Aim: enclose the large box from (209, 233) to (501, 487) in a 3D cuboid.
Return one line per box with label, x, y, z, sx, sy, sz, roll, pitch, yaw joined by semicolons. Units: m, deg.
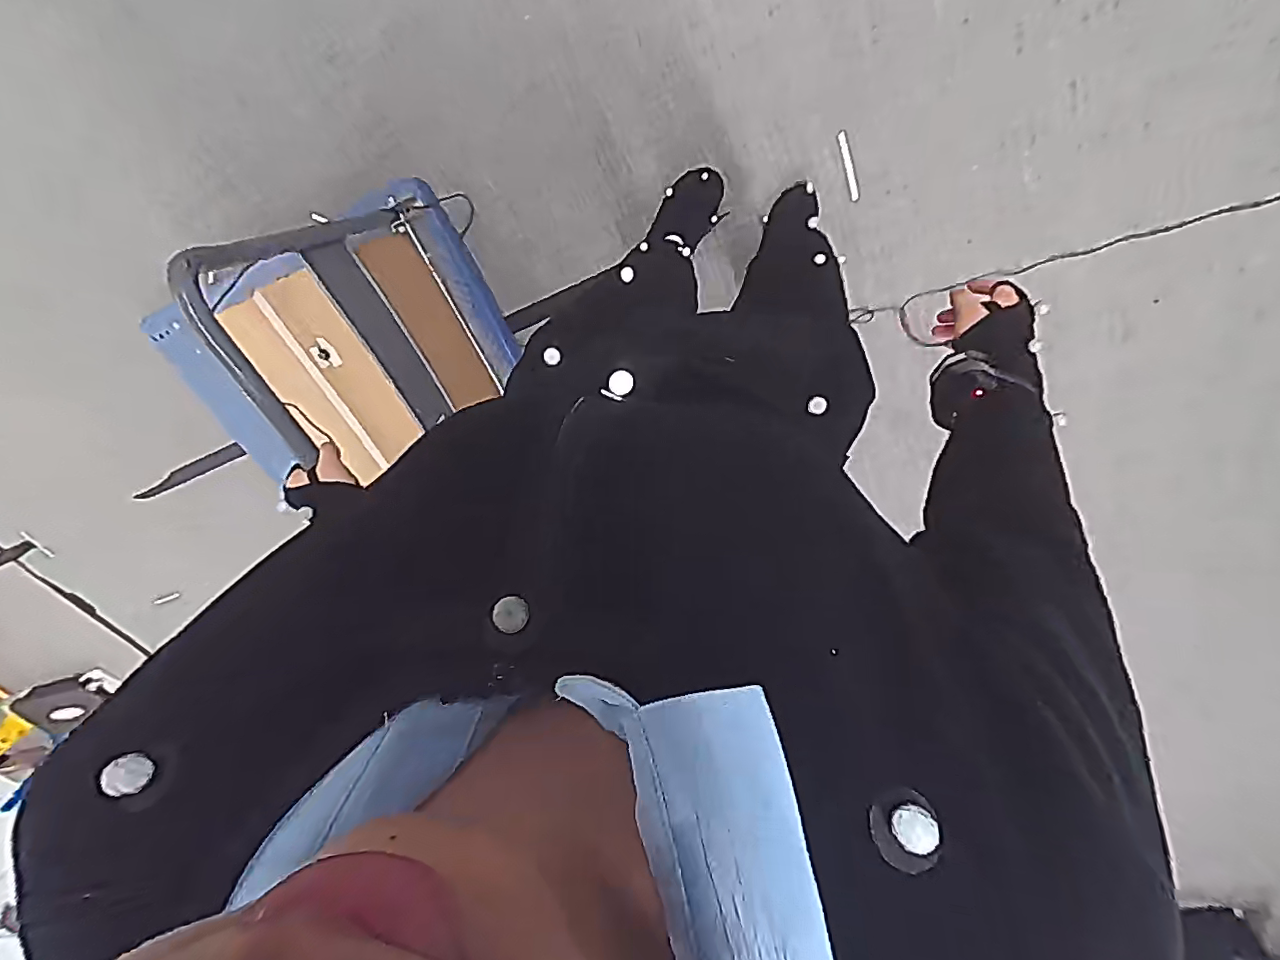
large box;-0.571;-0.259;1.175;0.320;0.320;0.408;-16;119;16
